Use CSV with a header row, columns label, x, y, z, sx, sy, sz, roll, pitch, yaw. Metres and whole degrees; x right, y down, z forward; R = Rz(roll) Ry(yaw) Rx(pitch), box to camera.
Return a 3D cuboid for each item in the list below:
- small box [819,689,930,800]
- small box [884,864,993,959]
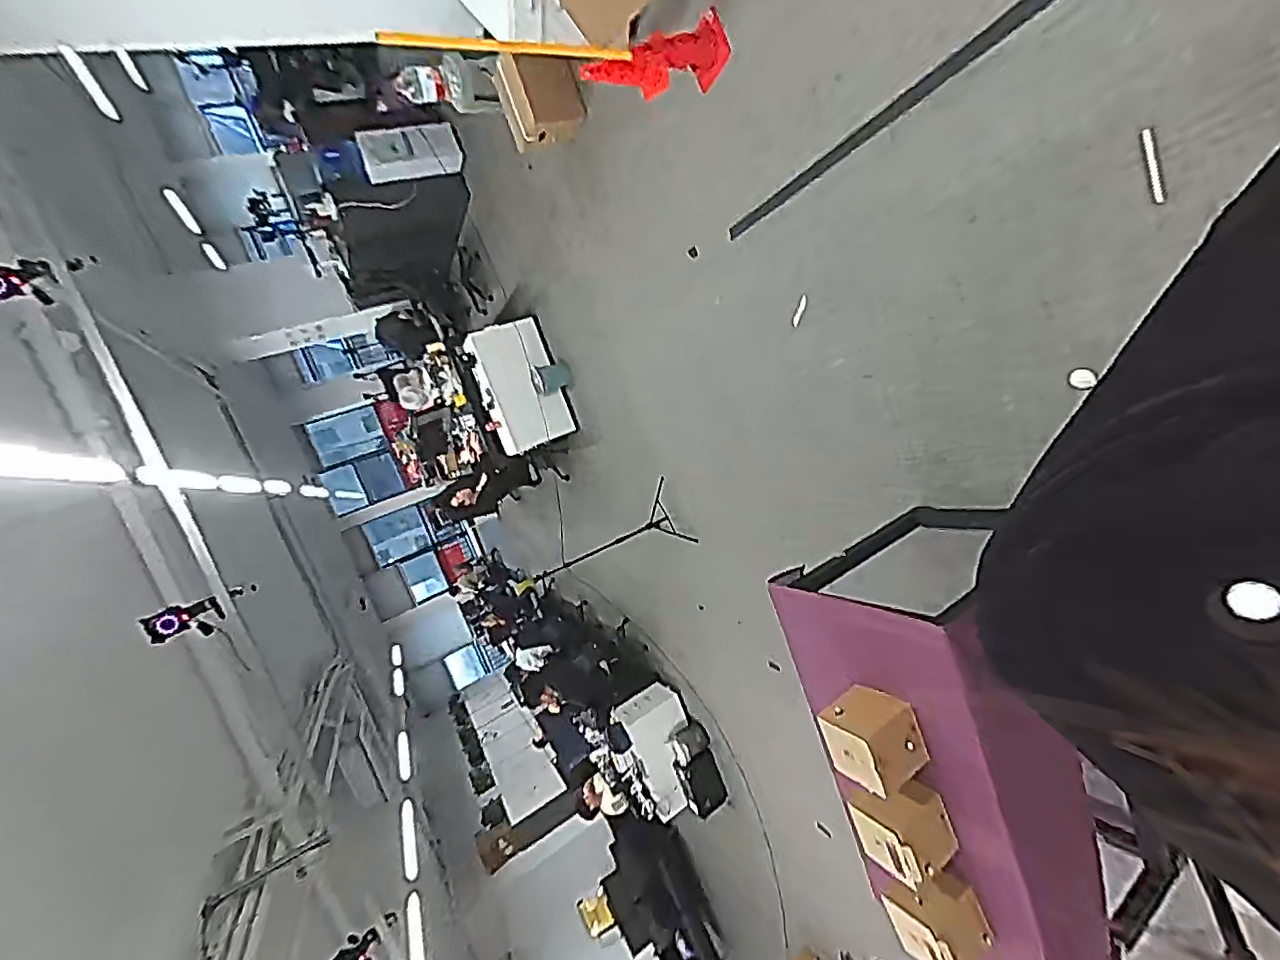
label,x,y,z,sx,sy,sz,roll,pitch,yaw
small box,0.606,0.672,1.401,0.179,0.176,0.168,-7,106,65
small box,0.808,1.189,1.456,0.168,0.176,0.179,66,157,1
